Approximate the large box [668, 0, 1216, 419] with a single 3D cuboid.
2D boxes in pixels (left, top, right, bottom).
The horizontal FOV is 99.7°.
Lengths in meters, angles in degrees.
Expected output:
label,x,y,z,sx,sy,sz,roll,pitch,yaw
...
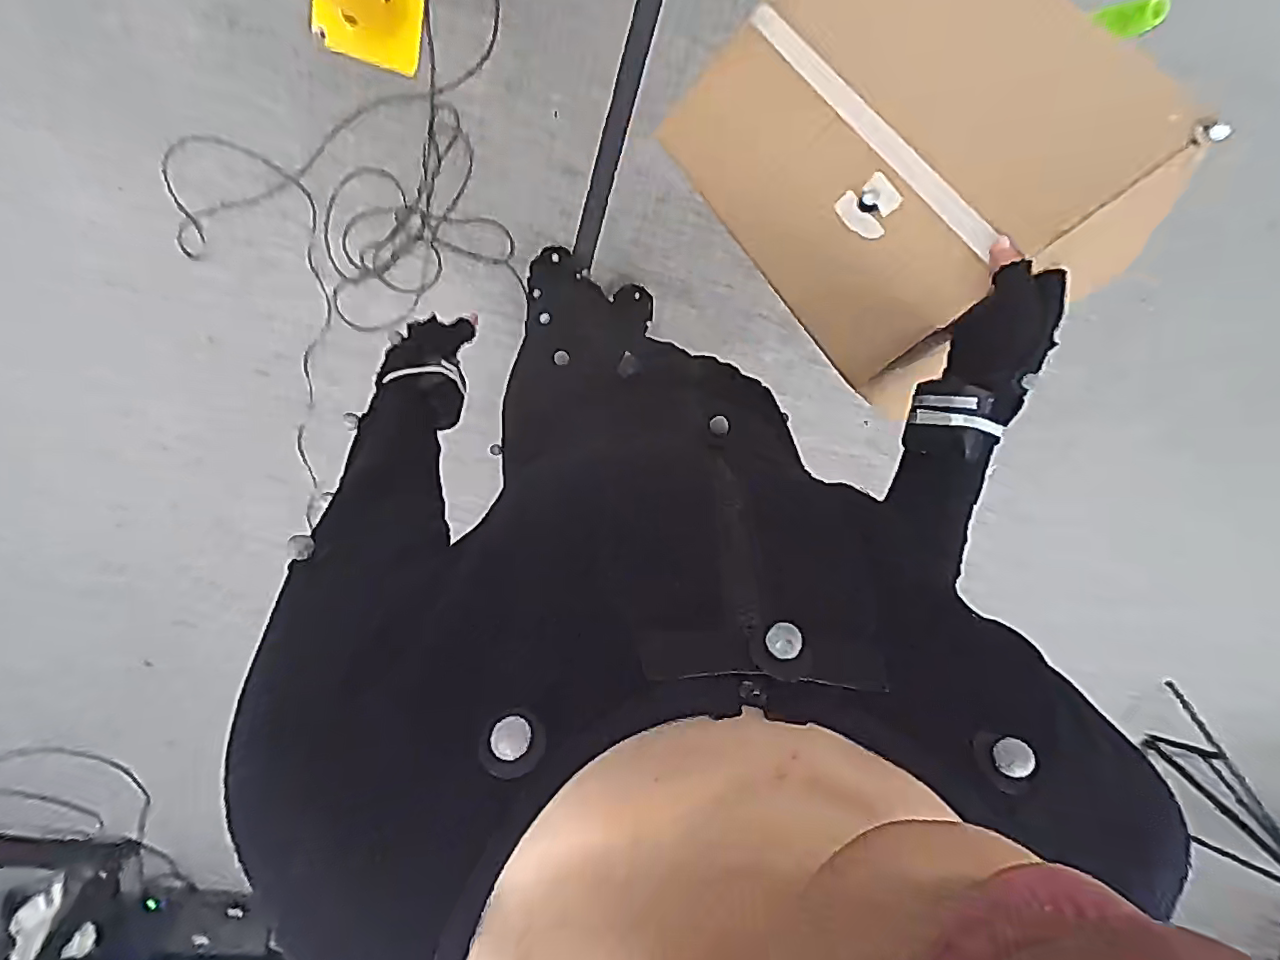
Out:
label,x,y,z,sx,sy,sz,roll,pitch,yaw
large box,0.310,-0.336,0.659,0.320,0.408,0.320,-39,159,25
